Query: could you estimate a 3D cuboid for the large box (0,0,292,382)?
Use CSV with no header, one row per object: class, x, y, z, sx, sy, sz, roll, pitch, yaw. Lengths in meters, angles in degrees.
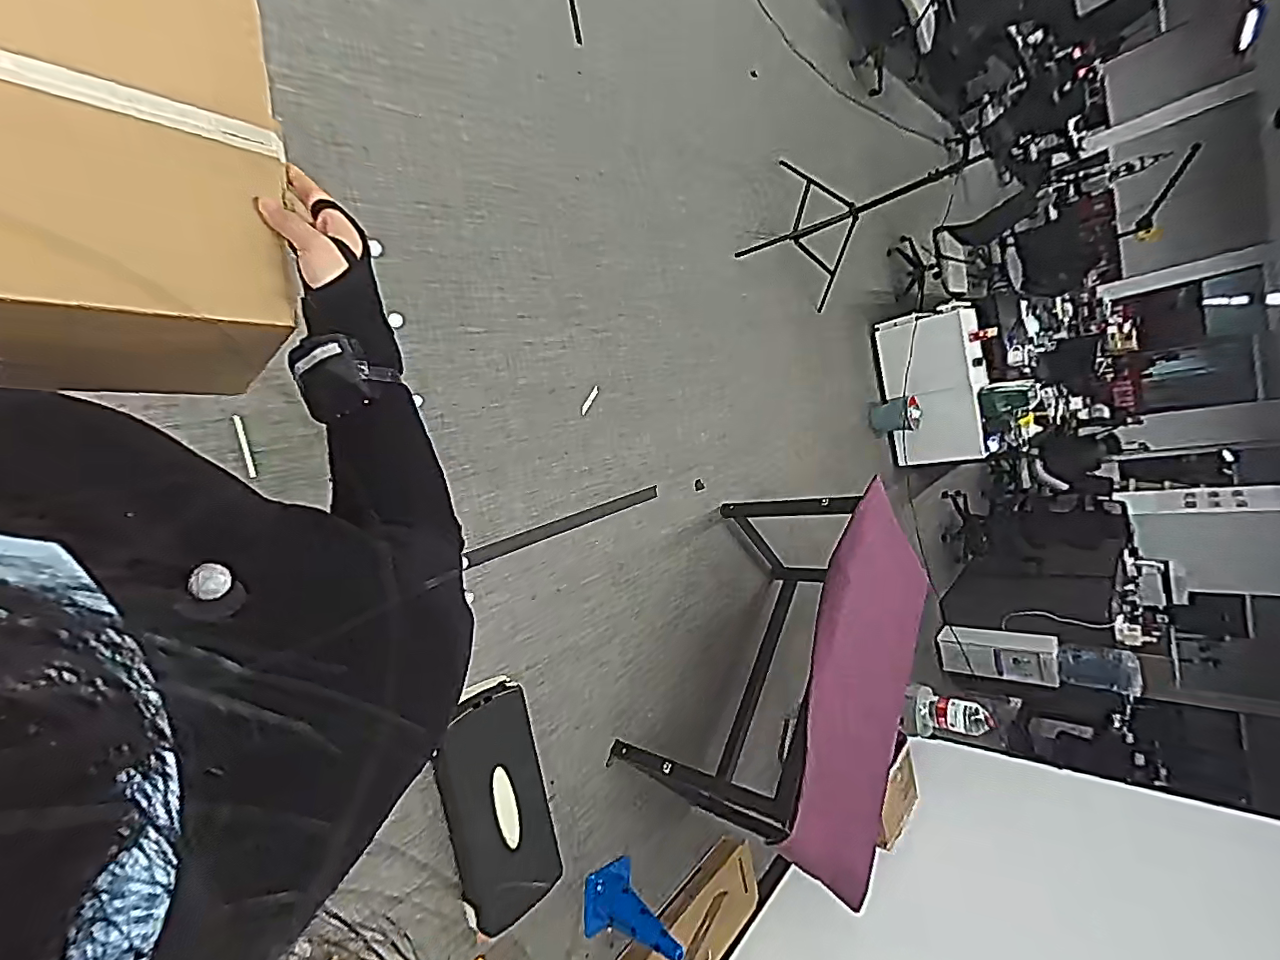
large box,-0.573,-0.264,0.453,0.408,0.320,0.320,-8,90,-44
